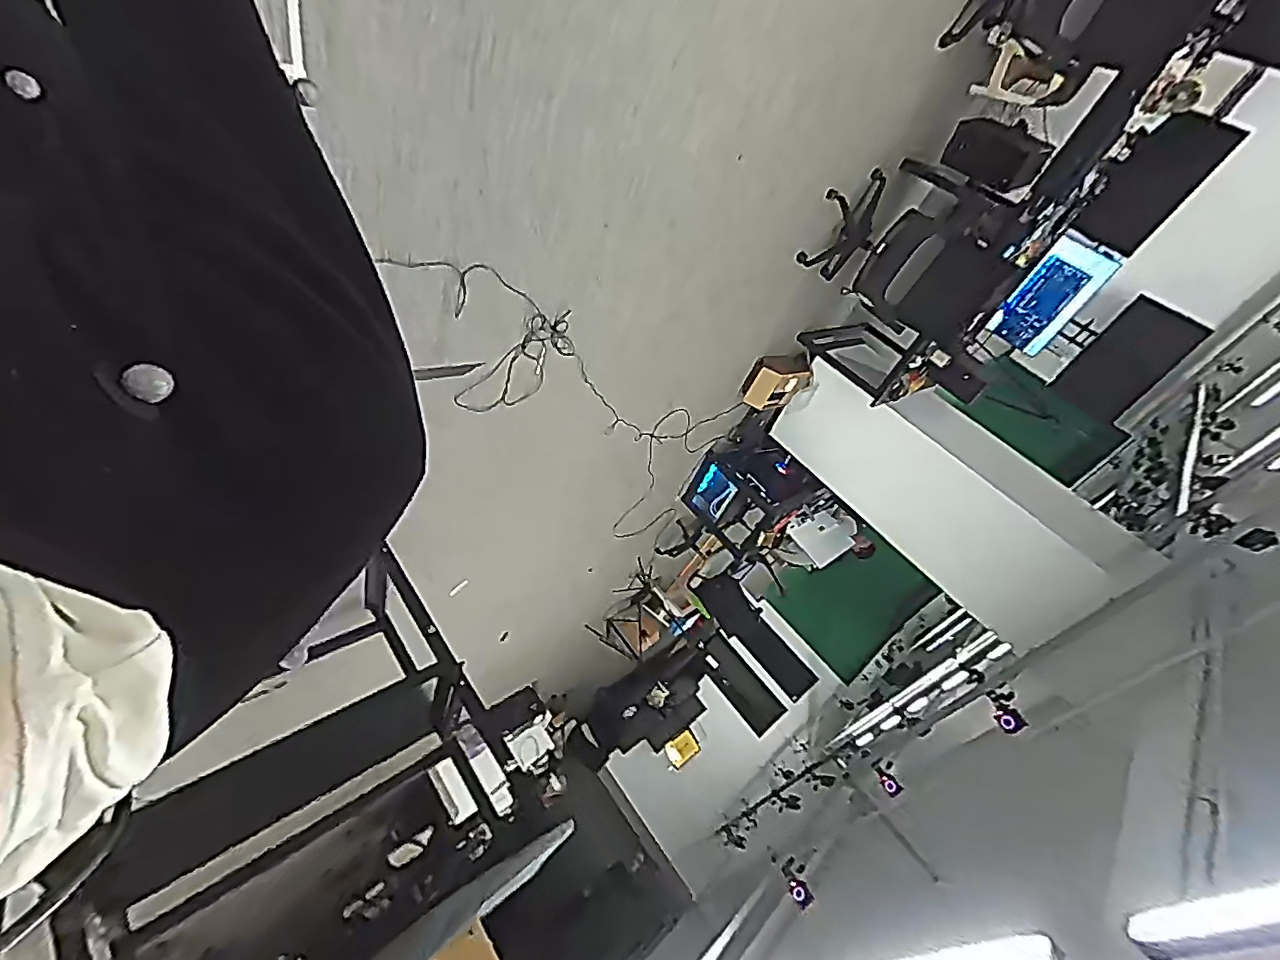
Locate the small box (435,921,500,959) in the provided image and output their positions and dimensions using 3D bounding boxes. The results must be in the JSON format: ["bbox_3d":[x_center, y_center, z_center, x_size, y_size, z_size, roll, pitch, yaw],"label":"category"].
[{"bbox_3d":[-0.602,1.682,1.876,0.168,0.176,0.179,-22,148,-38],"label":"small box"}]
